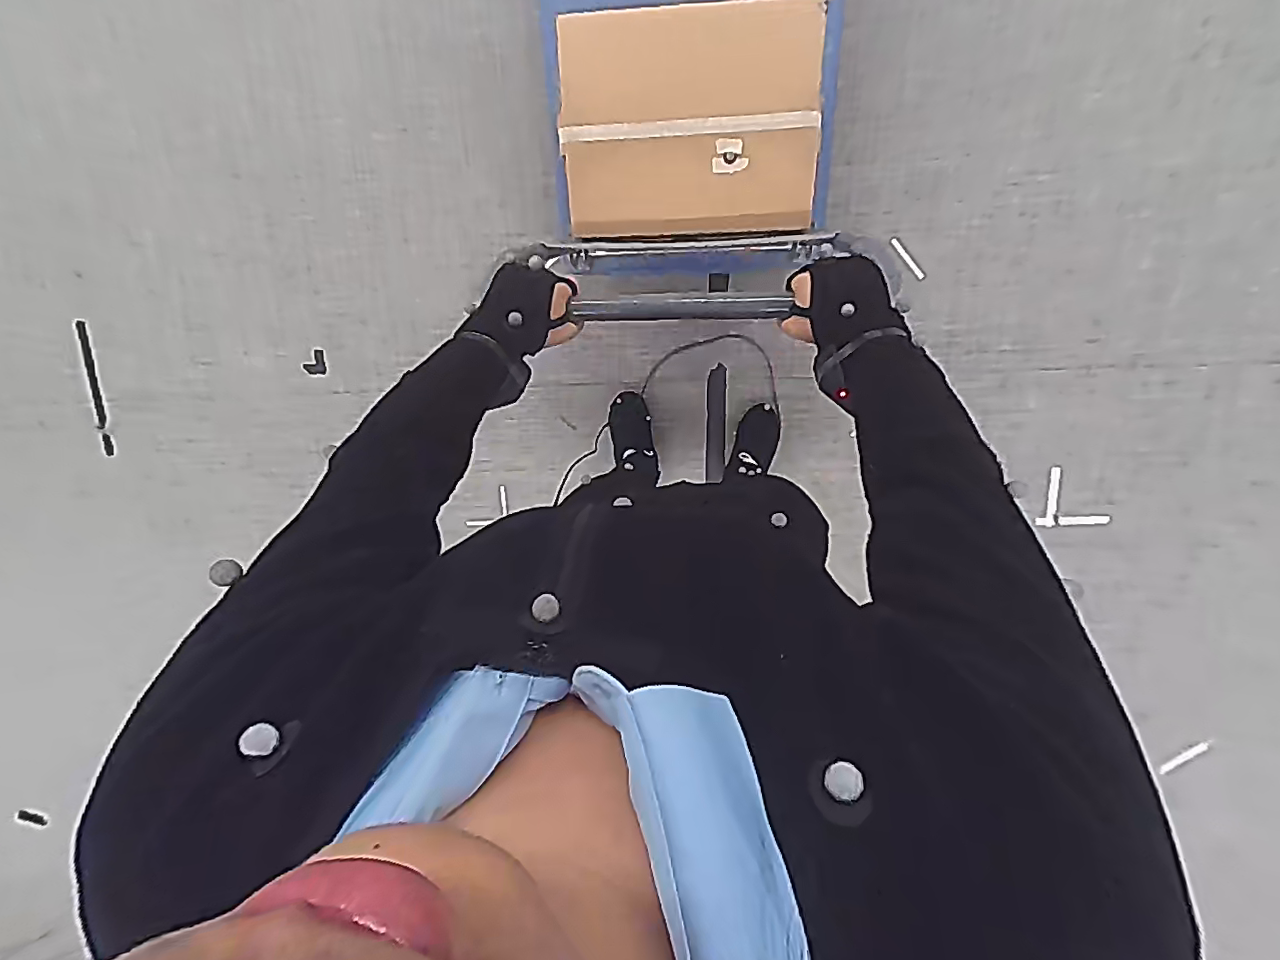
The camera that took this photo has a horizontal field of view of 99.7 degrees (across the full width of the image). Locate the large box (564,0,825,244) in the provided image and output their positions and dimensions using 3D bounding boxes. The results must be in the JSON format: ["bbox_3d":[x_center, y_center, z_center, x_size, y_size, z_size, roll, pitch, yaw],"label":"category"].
[{"bbox_3d":[0.095,-0.625,1.012,0.408,0.320,0.320,0,112,5],"label":"large box"}]
